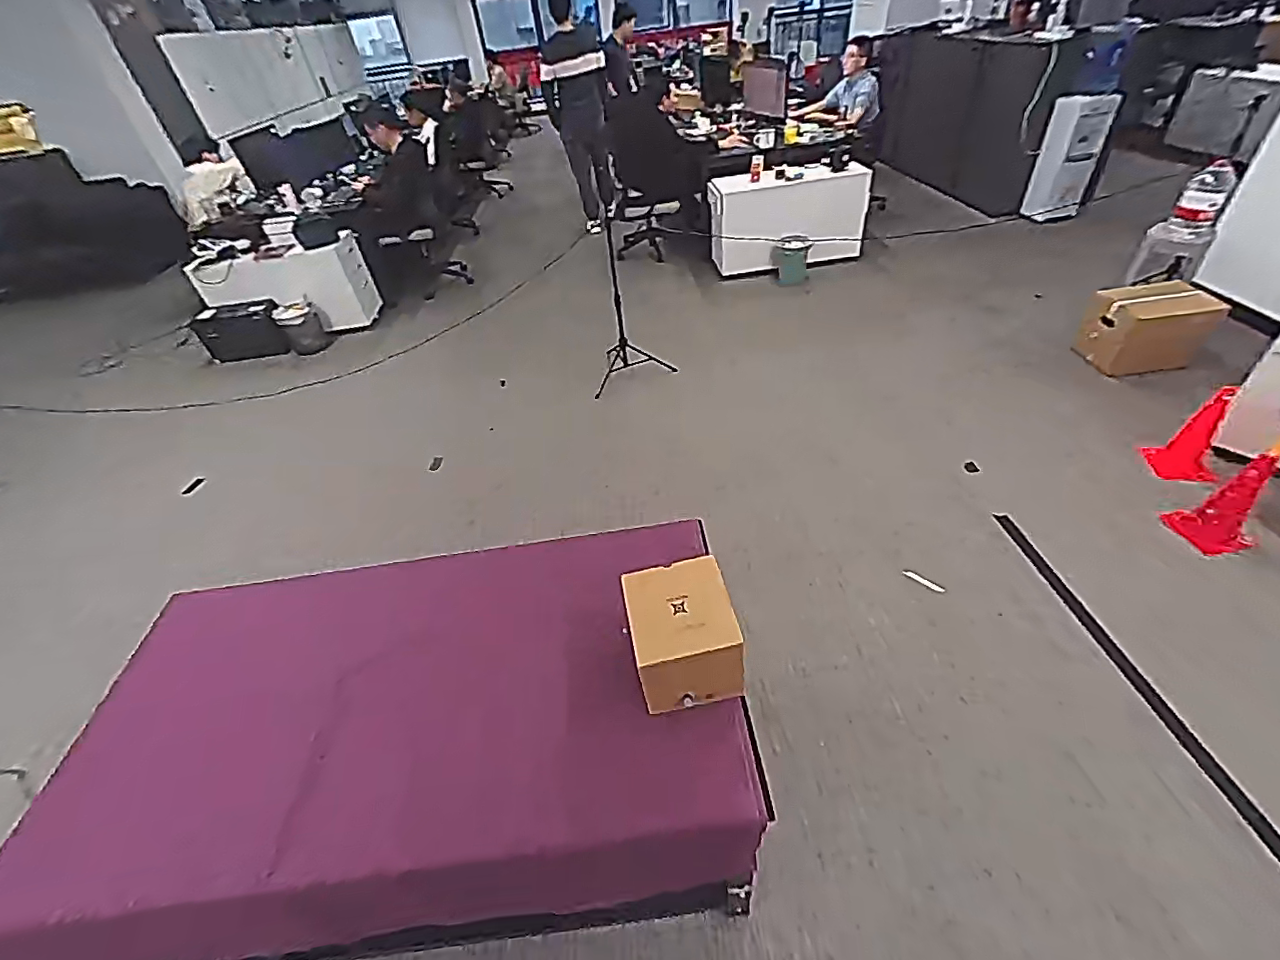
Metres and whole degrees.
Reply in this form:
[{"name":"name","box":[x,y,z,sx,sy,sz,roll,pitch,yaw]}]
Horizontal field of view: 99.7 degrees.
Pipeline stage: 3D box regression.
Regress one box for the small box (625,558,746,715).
[{"name":"small box","box":[0.074,0.263,0.910,0.168,0.176,0.179,-12,41,-1]}]
